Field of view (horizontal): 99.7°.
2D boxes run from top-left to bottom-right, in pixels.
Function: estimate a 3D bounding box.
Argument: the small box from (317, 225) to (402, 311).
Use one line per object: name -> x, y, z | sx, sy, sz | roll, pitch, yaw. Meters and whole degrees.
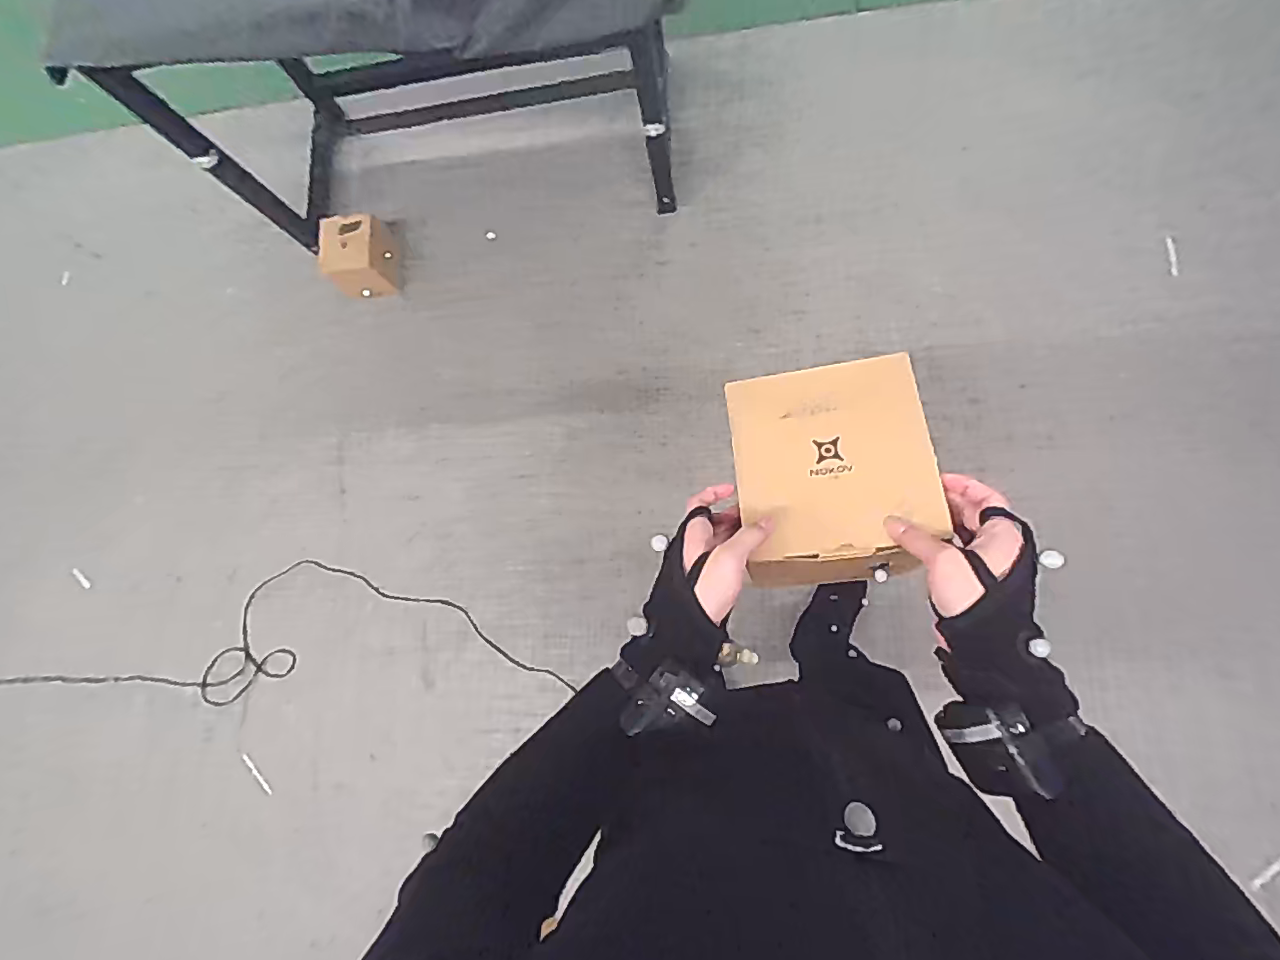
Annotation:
small box -> -0.852, -0.645, 1.656 | 0.168, 0.176, 0.179 | -4, 80, 9
